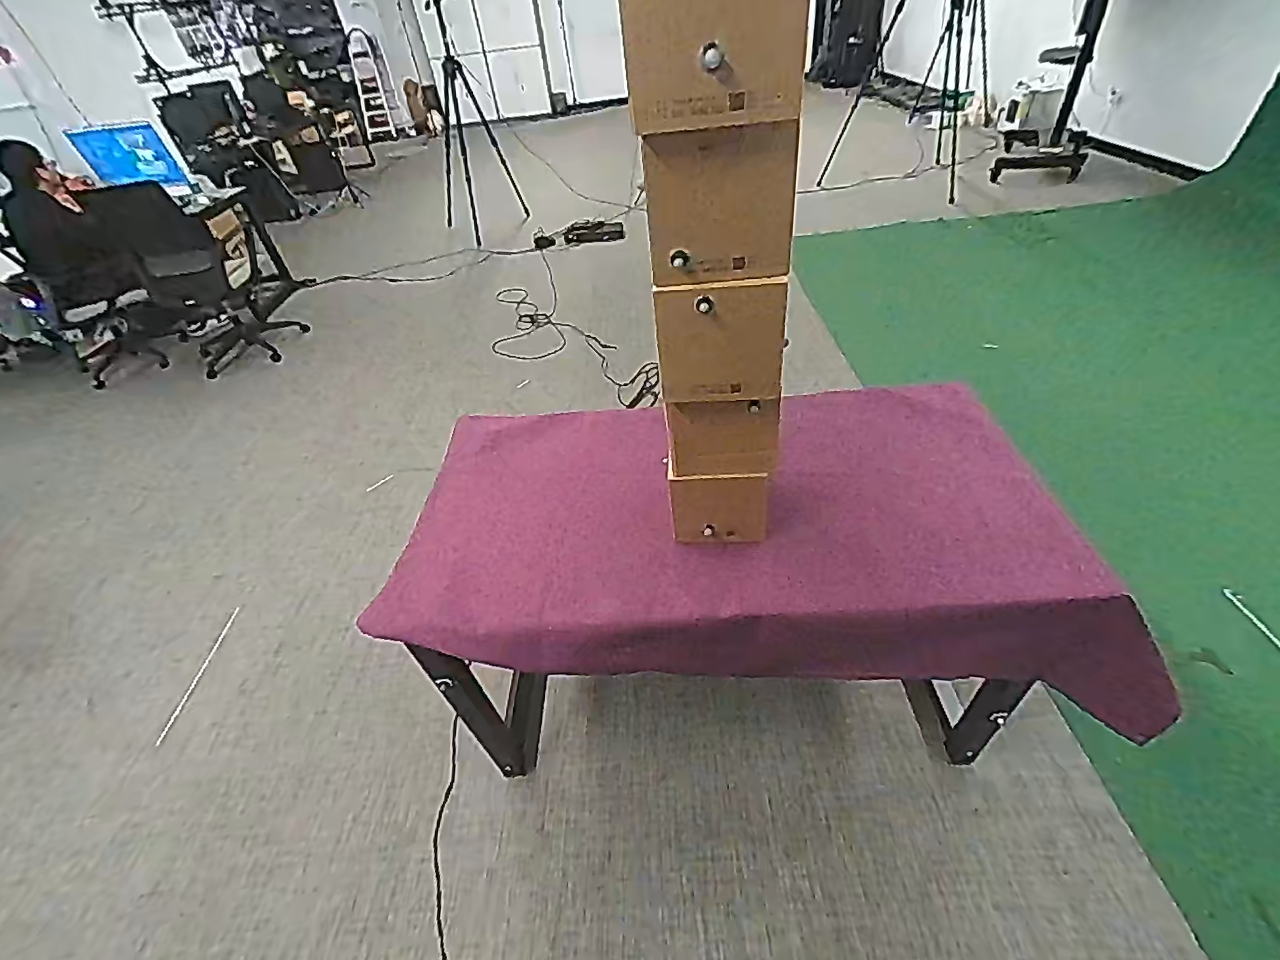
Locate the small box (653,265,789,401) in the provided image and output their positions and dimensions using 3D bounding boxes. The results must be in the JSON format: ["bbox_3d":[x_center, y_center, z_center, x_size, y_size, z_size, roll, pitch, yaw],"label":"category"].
[{"bbox_3d":[0.113,-0.228,0.761,0.168,0.176,0.179,-1,42,9],"label":"small box"}]

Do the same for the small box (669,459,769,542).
[{"bbox_3d":[0.144,-0.005,0.996,0.168,0.176,0.179,-2,43,8],"label":"small box"}]

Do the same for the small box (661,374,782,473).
[{"bbox_3d":[0.132,-0.124,0.889,0.179,0.176,0.168,-3,43,7],"label":"small box"}]

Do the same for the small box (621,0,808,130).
[{"bbox_3d":[0.073,-0.461,0.532,0.168,0.176,0.179,0,43,10],"label":"small box"}]

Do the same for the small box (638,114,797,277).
[{"bbox_3d":[0.092,-0.358,0.662,0.168,0.176,0.179,-4,42,6],"label":"small box"}]
